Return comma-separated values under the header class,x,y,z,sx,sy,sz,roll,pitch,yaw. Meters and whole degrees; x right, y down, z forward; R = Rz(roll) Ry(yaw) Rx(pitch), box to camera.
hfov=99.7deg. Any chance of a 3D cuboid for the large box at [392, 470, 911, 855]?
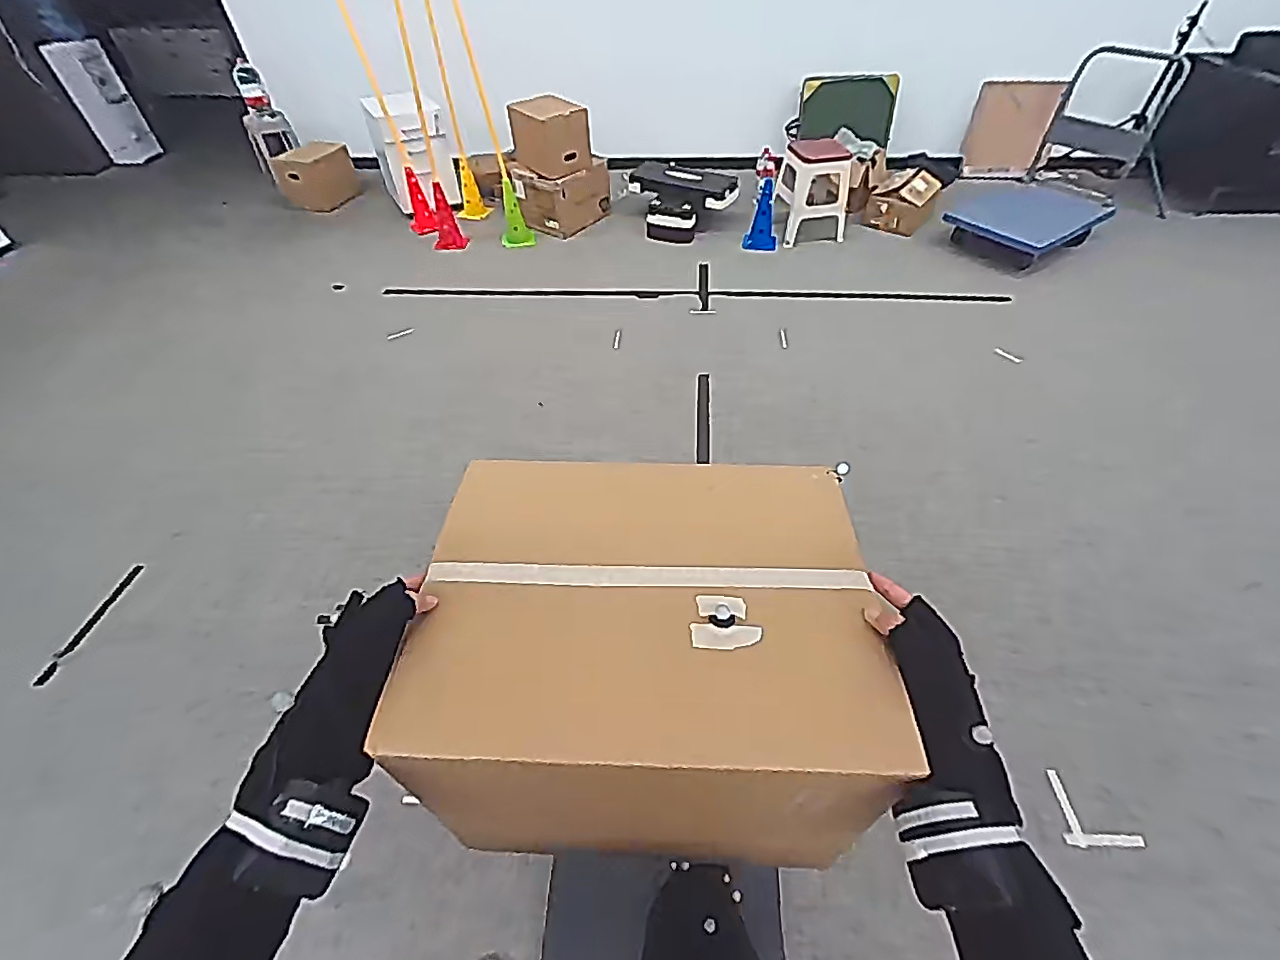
class,x,y,z,sx,sy,sz,roll,pitch,yaw
large box,0.011,0.205,0.615,0.408,0.320,0.320,2,45,2
